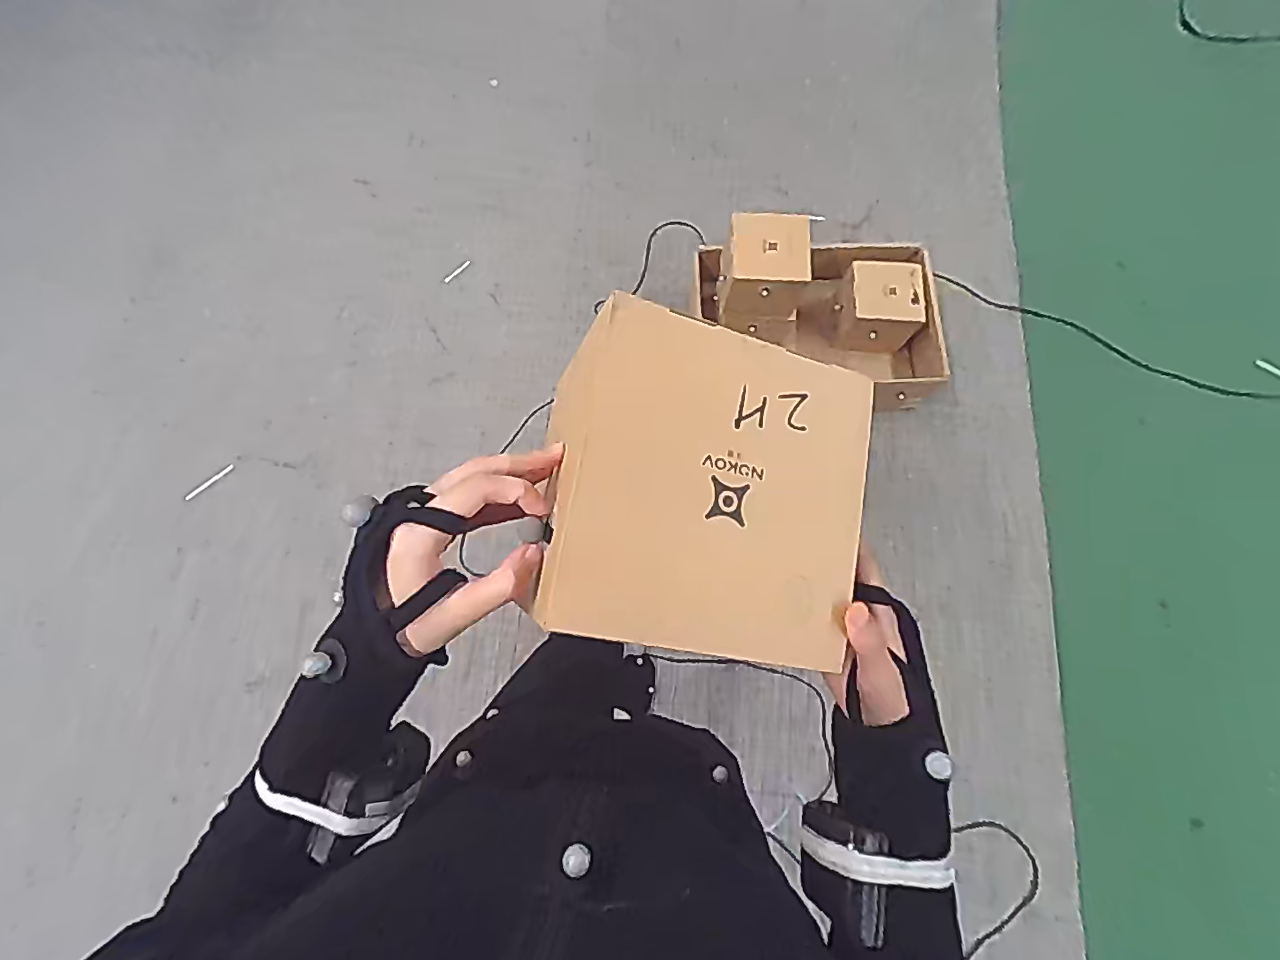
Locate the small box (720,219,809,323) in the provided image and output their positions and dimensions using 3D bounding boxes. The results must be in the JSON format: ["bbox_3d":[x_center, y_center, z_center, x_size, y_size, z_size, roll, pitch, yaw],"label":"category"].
[{"bbox_3d":[0.287,-0.485,1.274,0.179,0.176,0.168,3,77,-1],"label":"small box"}]

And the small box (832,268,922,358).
[{"bbox_3d":[0.619,-0.438,1.435,0.179,0.176,0.168,4,76,1],"label":"small box"}]
